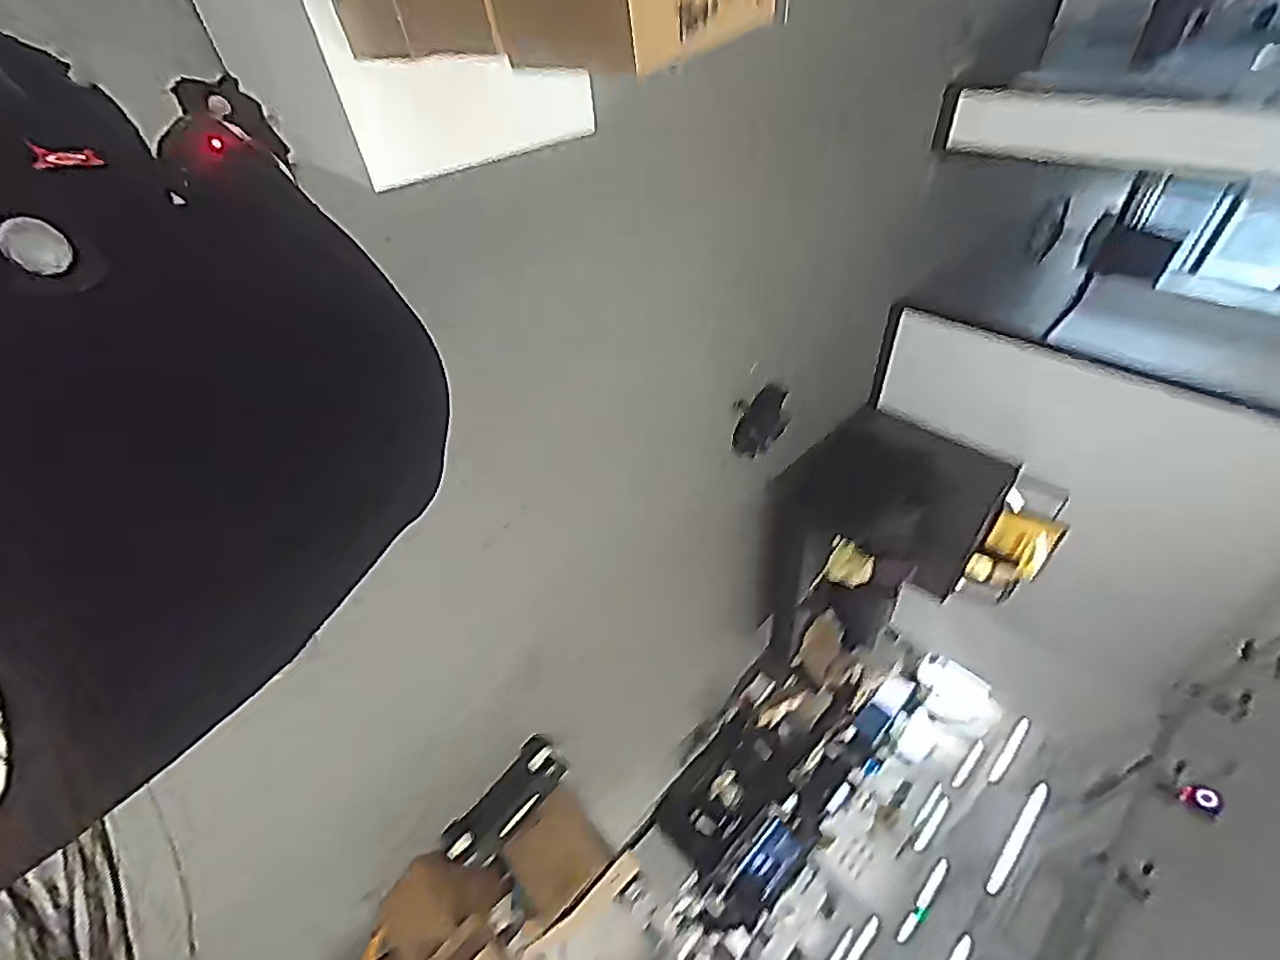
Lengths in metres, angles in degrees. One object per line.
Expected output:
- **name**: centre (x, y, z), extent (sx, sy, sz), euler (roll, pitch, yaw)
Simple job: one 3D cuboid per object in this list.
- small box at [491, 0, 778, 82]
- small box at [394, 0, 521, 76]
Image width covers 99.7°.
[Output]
- **small box**: centre (-0.015, -0.420, 0.400), extent (0.168, 0.176, 0.179), euler (-39, 141, -22)
- **small box**: centre (-0.125, -0.496, 0.495), extent (0.179, 0.176, 0.168), euler (-41, 142, -23)
